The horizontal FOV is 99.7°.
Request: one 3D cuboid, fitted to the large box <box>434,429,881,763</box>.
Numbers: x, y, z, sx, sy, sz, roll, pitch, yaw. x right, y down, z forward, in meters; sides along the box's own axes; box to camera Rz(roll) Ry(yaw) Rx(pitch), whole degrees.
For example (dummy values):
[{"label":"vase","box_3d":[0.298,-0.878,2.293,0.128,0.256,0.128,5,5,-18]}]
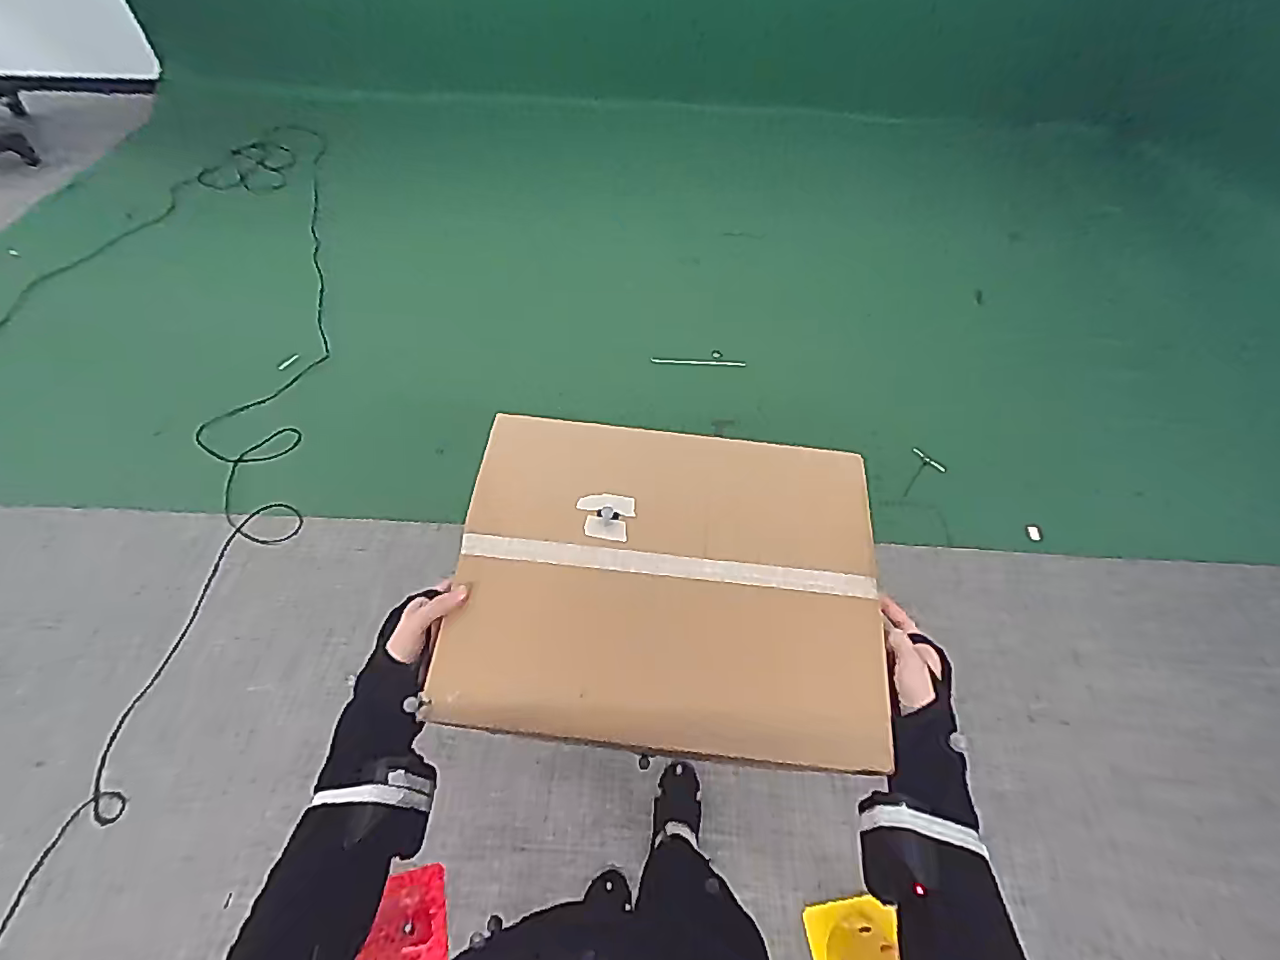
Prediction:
[{"label":"large box","box_3d":[0.025,0.161,0.674,0.408,0.320,0.320,6,61,1]}]
